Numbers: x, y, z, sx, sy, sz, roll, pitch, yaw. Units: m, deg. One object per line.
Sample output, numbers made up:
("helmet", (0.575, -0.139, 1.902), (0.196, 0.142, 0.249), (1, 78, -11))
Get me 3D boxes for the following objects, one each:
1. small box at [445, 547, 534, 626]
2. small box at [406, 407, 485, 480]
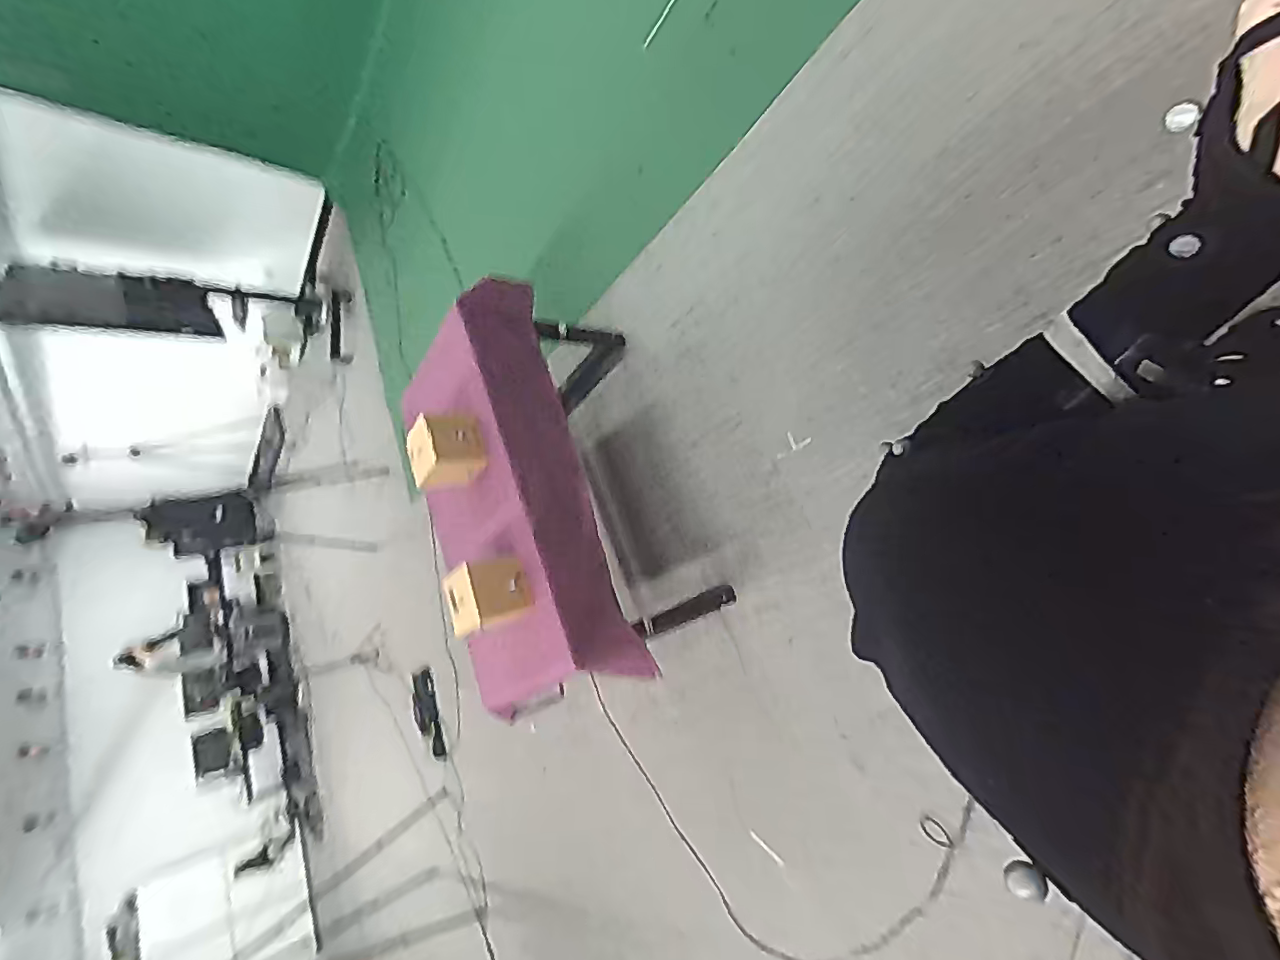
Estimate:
("small box", (-0.431, 0.305, 1.550), (0.179, 0.176, 0.168), (-33, 71, 43))
("small box", (-0.596, -0.115, 1.671), (0.179, 0.176, 0.168), (-35, 70, 43))
